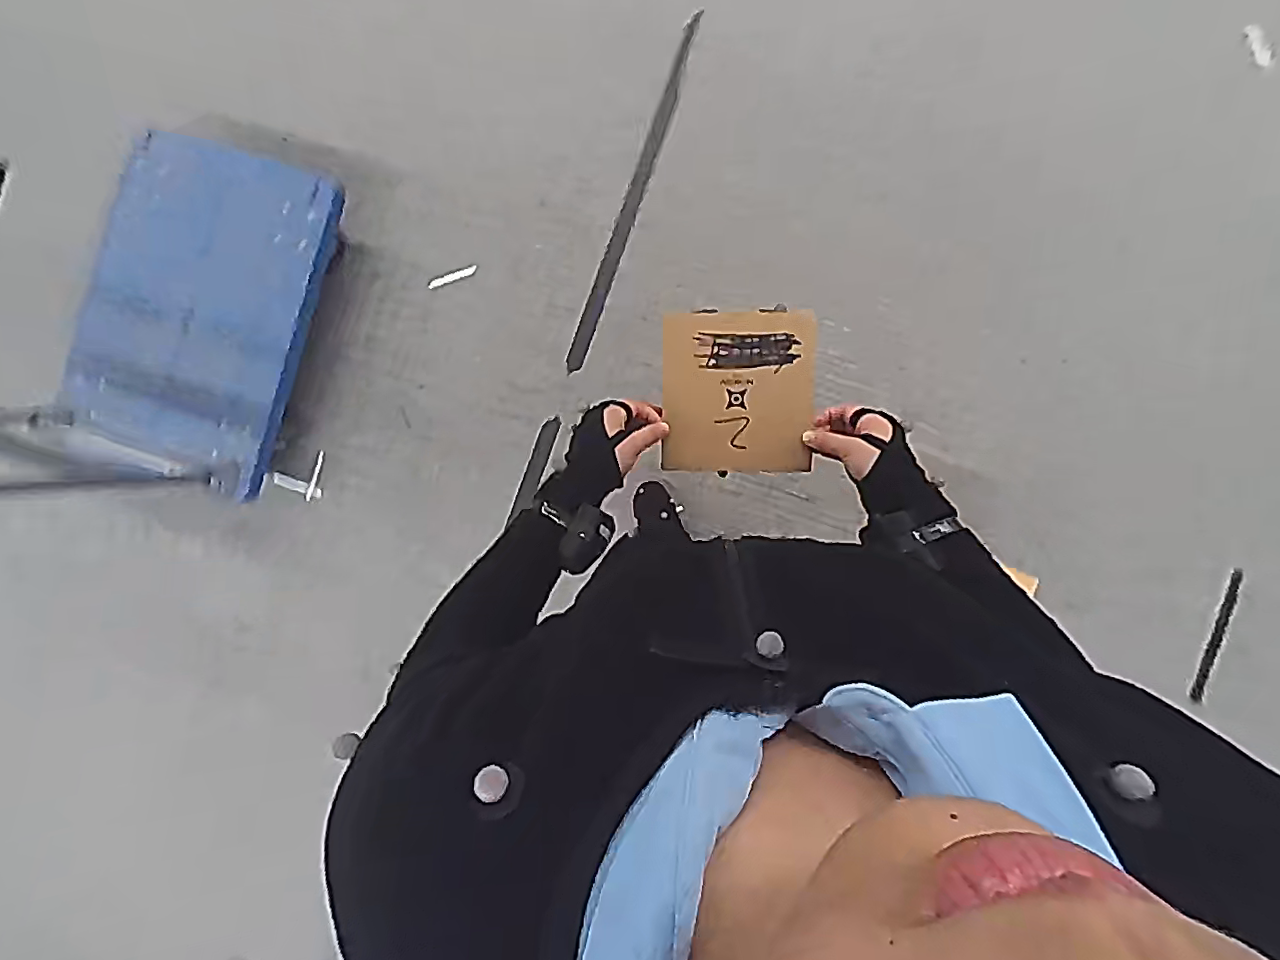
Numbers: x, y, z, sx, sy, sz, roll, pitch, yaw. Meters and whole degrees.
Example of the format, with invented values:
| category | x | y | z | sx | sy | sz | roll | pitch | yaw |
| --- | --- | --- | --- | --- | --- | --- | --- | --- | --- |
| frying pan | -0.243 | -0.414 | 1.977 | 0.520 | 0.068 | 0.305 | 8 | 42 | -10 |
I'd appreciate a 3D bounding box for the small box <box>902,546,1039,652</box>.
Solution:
| category | x | y | z | sx | sy | sz | roll | pitch | yaw |
| --- | --- | --- | --- | --- | --- | --- | --- | --- | --- |
| small box | 0.729 | 0.255 | 1.210 | 0.179 | 0.176 | 0.168 | 20 | 91 | 4 |
